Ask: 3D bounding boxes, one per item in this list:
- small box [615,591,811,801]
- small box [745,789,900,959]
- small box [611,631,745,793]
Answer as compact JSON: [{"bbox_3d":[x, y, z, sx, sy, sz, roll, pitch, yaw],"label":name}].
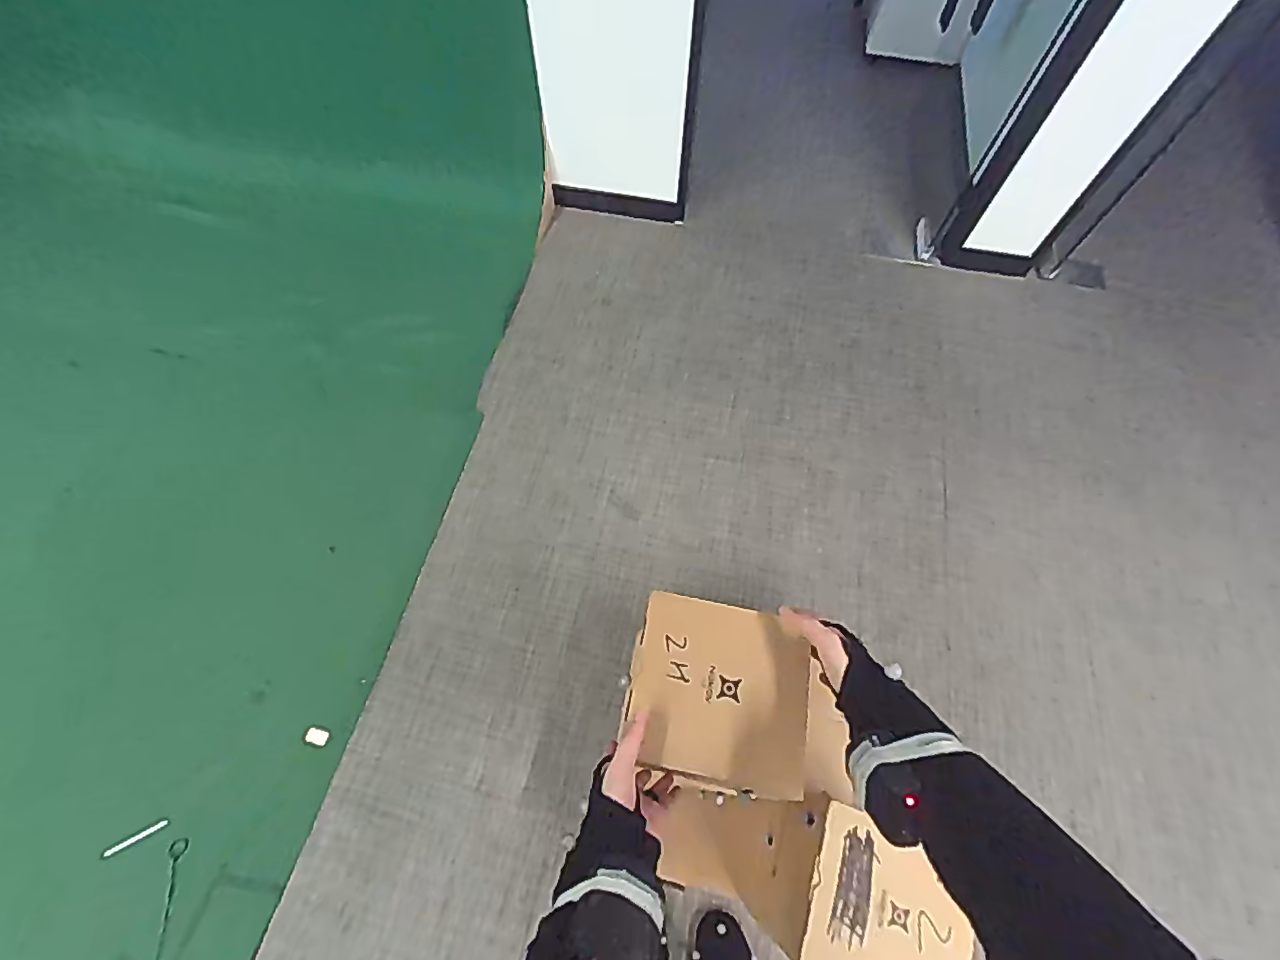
[{"bbox_3d":[0.076,0.244,0.606,0.179,0.176,0.168,11,61,5],"label":"small box"},{"bbox_3d":[0.263,0.574,0.803,0.168,0.176,0.179,15,63,6],"label":"small box"},{"bbox_3d":[0.063,0.325,0.749,0.179,0.176,0.168,11,61,3],"label":"small box"}]
